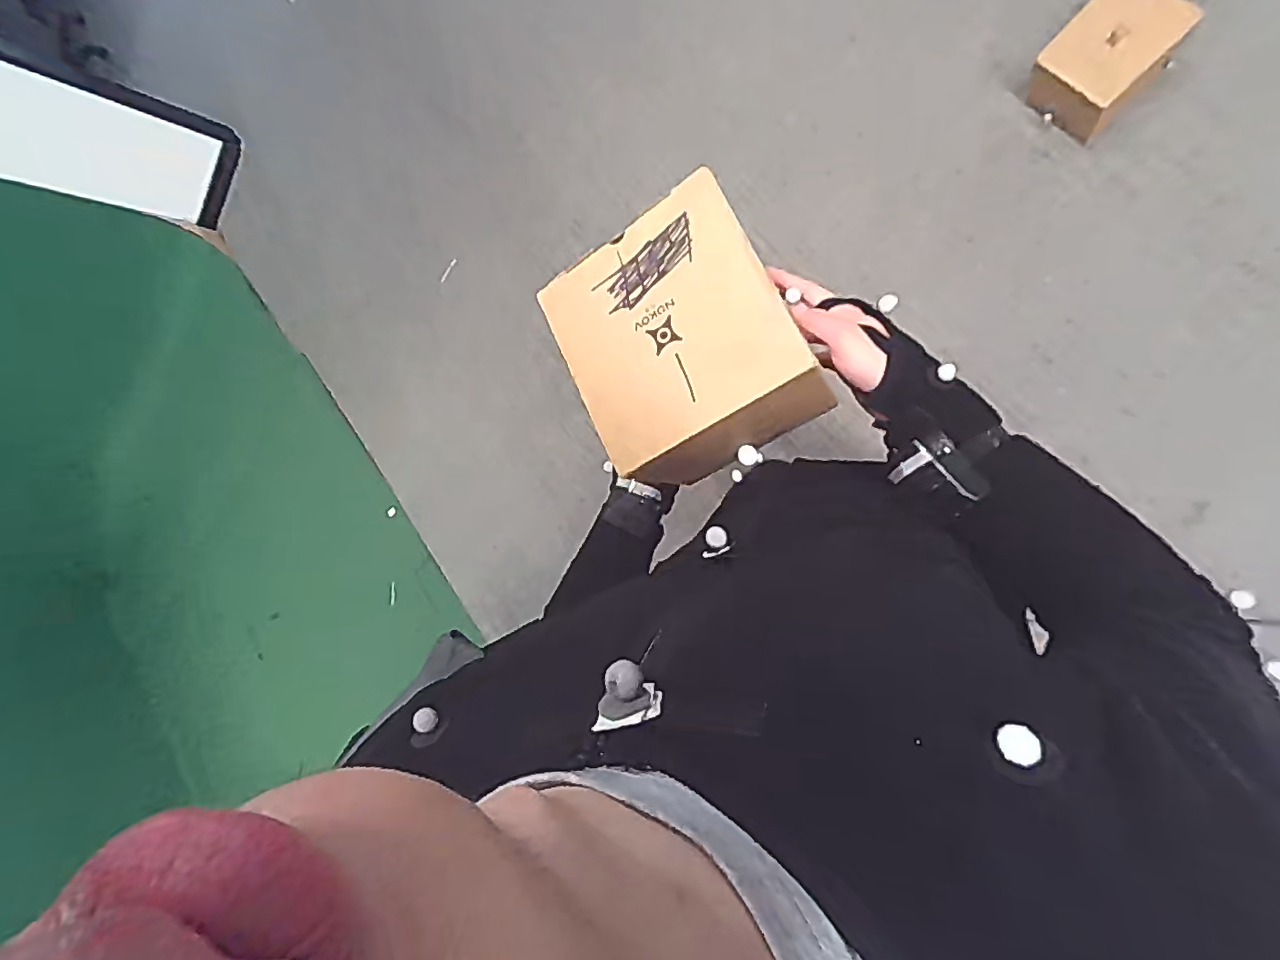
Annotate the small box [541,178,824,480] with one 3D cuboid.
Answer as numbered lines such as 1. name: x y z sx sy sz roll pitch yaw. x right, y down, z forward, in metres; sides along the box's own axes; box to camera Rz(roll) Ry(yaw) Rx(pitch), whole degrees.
1. small box: 0.047 -0.111 0.483 0.168 0.176 0.179 -28 78 21

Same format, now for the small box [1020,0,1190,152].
1. small box: 0.884 -0.792 1.053 0.179 0.176 0.168 -45 74 27
